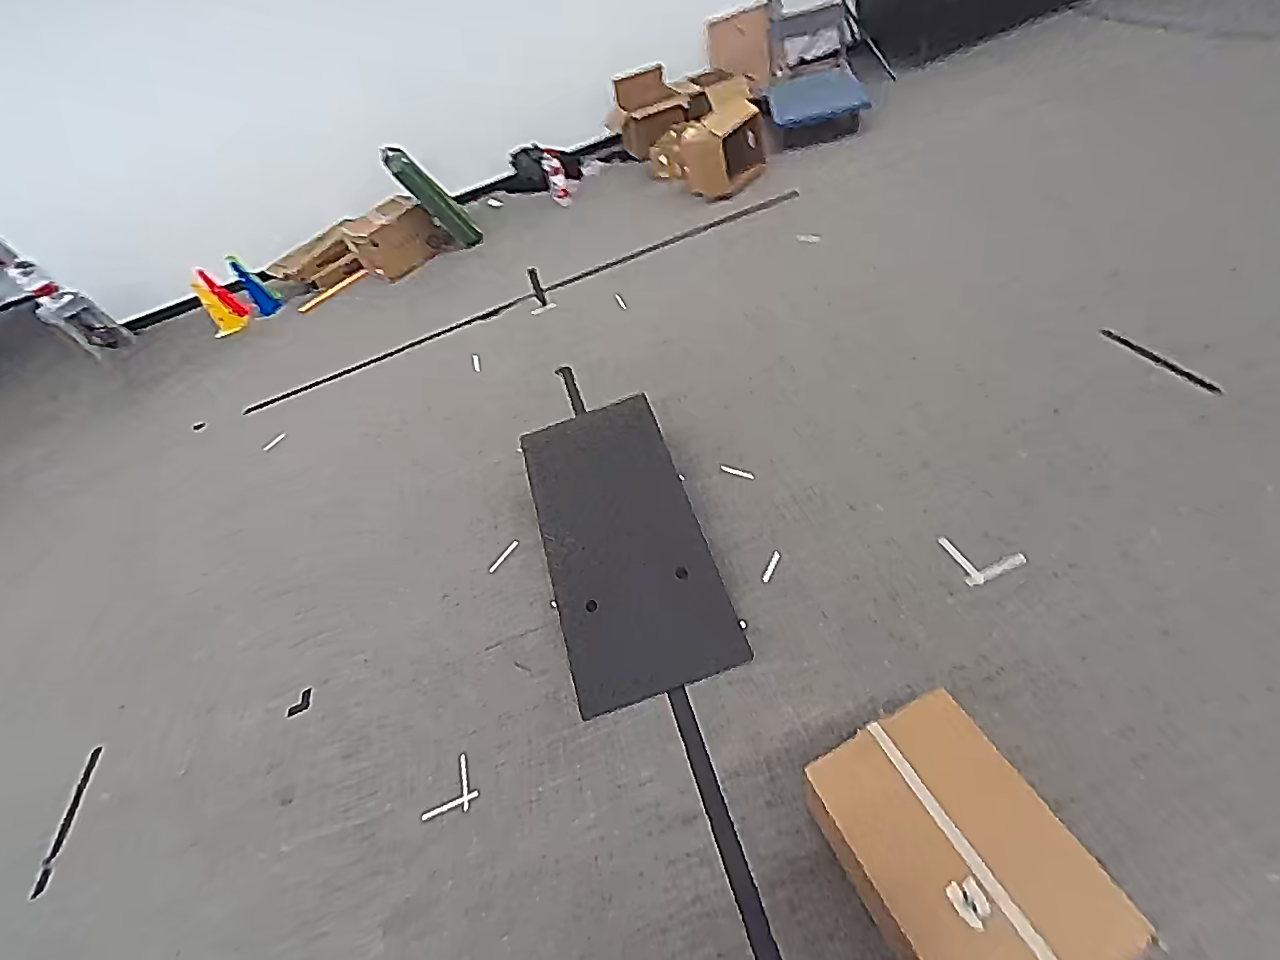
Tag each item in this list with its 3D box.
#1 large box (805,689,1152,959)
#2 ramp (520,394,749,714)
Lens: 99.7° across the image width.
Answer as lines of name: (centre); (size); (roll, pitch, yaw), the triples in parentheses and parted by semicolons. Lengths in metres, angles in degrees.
large box: (0.551, 0.680, 0.993); (0.320, 0.320, 0.408); (-28, 48, -6)
ramp: (-0.069, 0.160, 1.725); (0.509, 0.206, 0.991); (-21, 48, -2)
